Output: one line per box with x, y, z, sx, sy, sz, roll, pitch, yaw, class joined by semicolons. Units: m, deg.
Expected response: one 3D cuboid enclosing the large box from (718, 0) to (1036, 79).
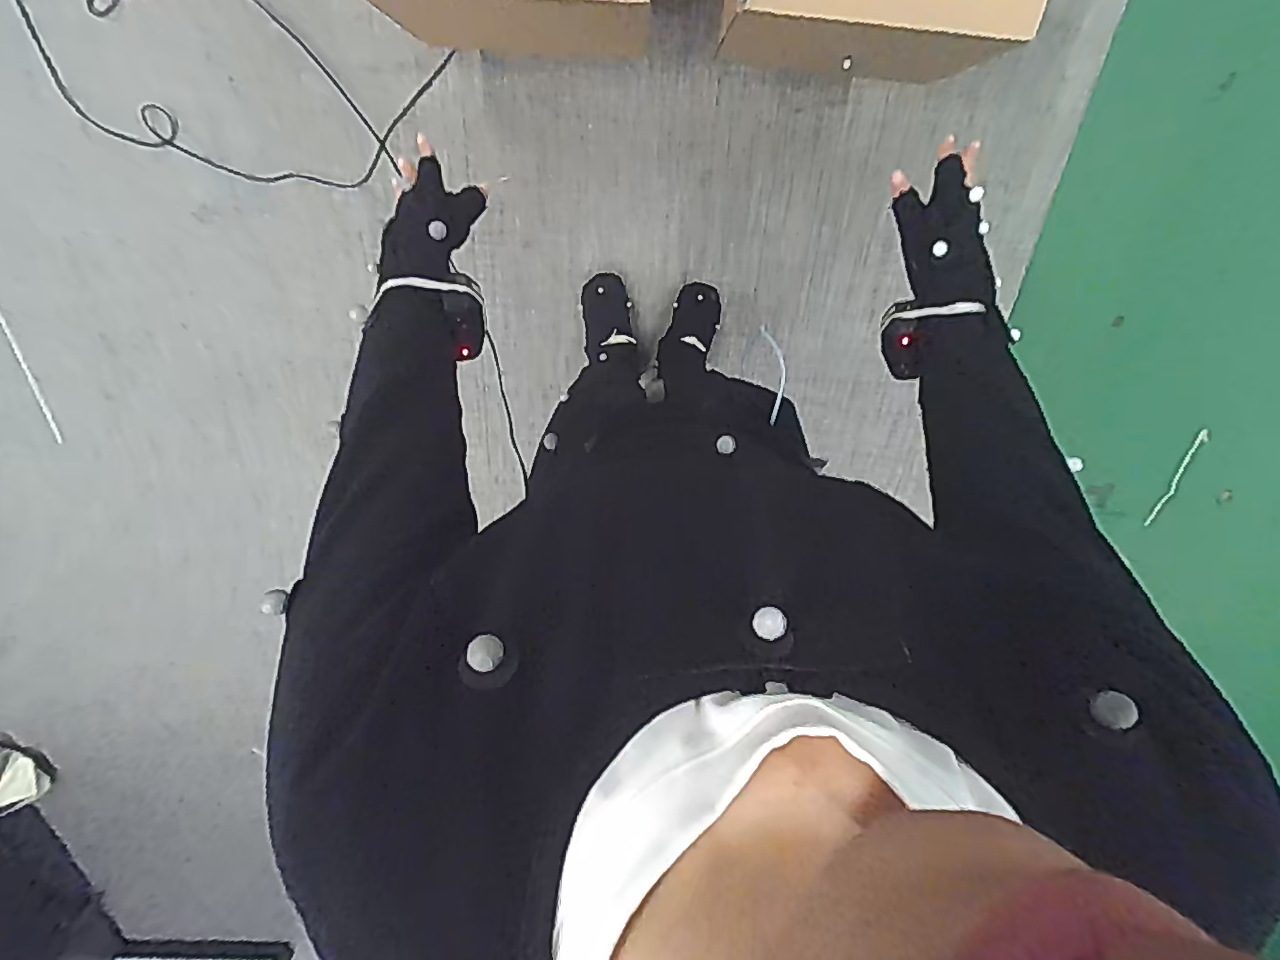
0.353;-0.827;0.810;0.408;0.320;0.320;5;117;-2;large box
